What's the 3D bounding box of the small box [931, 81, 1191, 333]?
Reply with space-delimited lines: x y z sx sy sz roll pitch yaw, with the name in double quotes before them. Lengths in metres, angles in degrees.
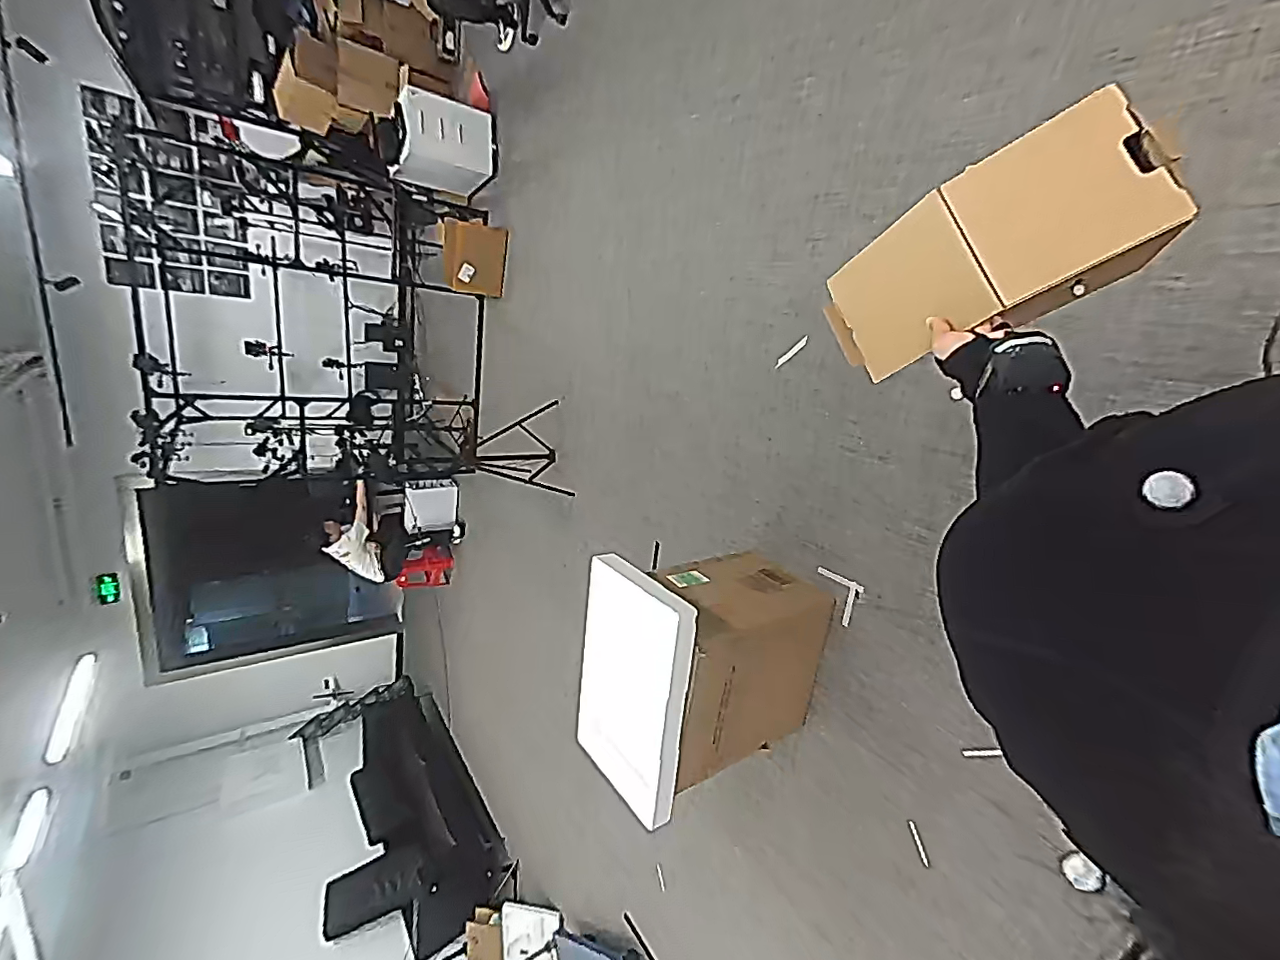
"small box" 0.469 -0.296 0.637 0.179 0.176 0.168 -26 80 26
